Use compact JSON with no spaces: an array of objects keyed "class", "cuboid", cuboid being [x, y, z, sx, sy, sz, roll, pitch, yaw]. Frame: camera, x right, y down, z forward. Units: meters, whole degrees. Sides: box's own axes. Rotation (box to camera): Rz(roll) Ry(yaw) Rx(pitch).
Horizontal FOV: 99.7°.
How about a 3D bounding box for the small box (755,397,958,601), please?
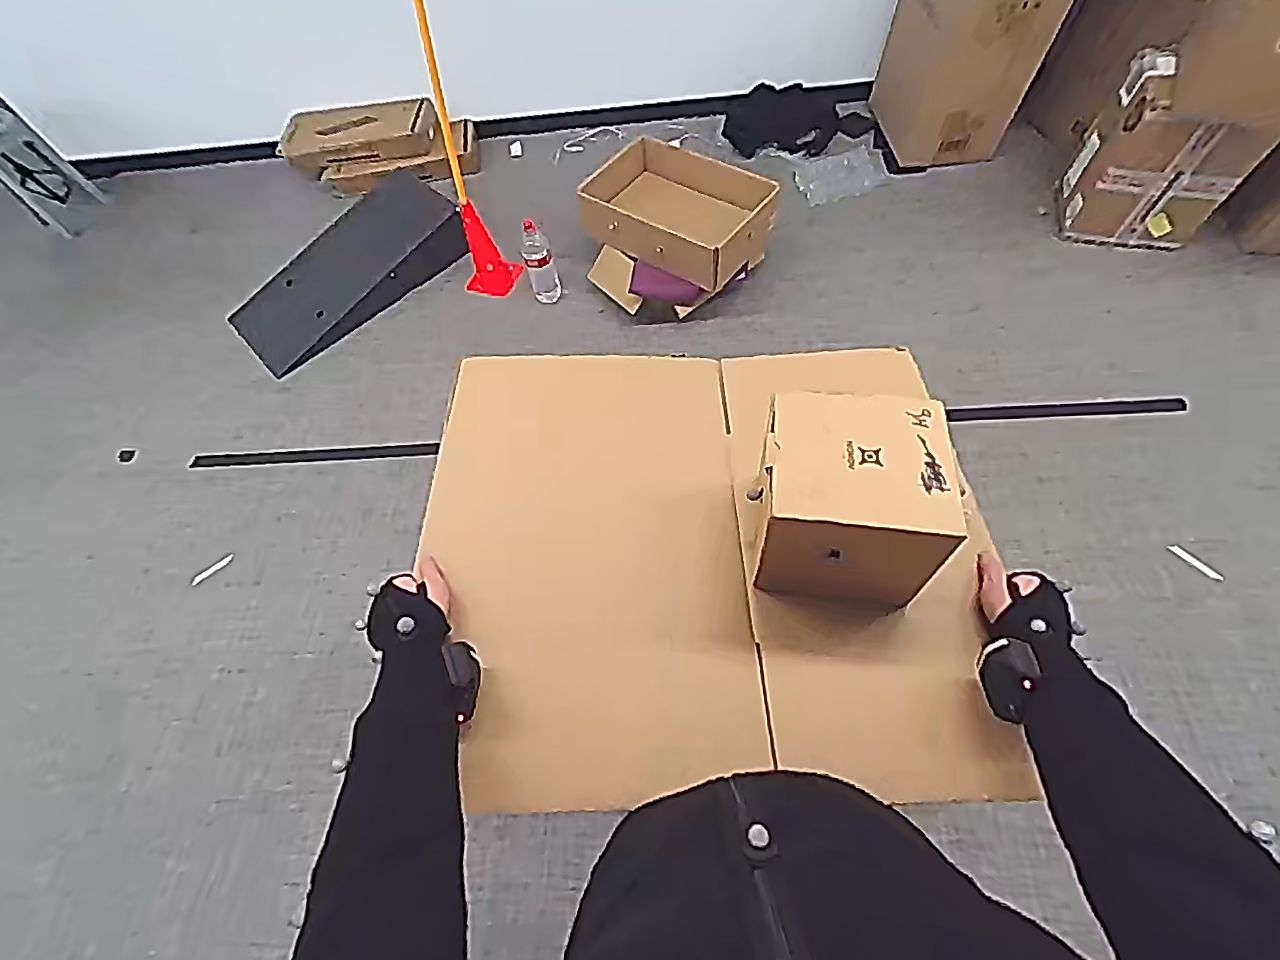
[{"class":"small box","cuboid":[0.226,0.026,0.613,0.179,0.176,0.168,5,57,10]}]
